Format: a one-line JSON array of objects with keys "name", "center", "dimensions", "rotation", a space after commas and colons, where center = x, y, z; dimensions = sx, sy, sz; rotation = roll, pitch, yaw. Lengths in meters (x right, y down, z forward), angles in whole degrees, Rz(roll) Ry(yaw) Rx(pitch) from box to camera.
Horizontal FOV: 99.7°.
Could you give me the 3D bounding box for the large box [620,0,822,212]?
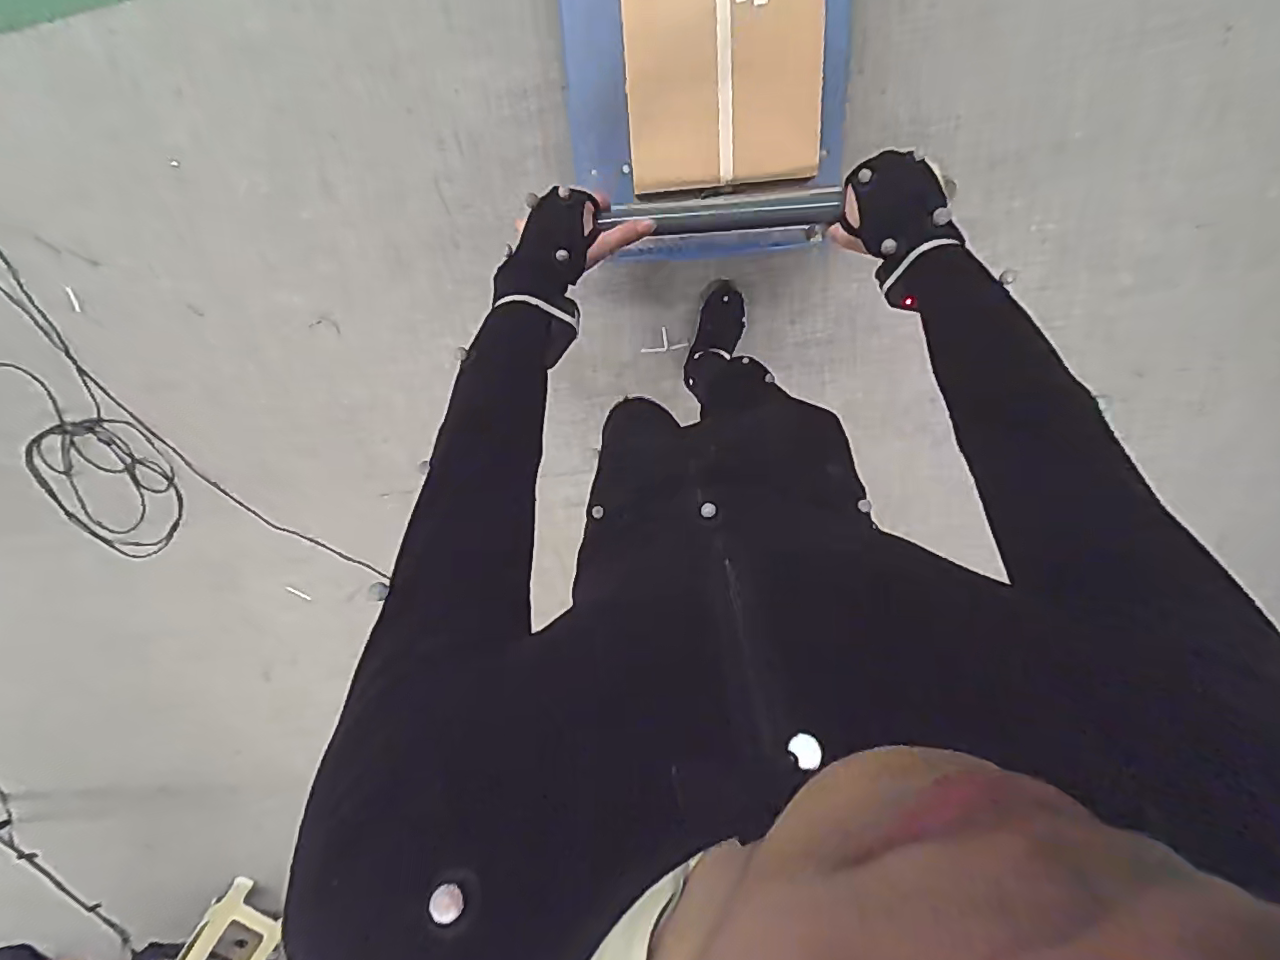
[{"name": "large box", "center": [0.143, -0.742, 0.991], "dimensions": [0.320, 0.320, 0.408], "rotation": [-2, 111, 6]}]
